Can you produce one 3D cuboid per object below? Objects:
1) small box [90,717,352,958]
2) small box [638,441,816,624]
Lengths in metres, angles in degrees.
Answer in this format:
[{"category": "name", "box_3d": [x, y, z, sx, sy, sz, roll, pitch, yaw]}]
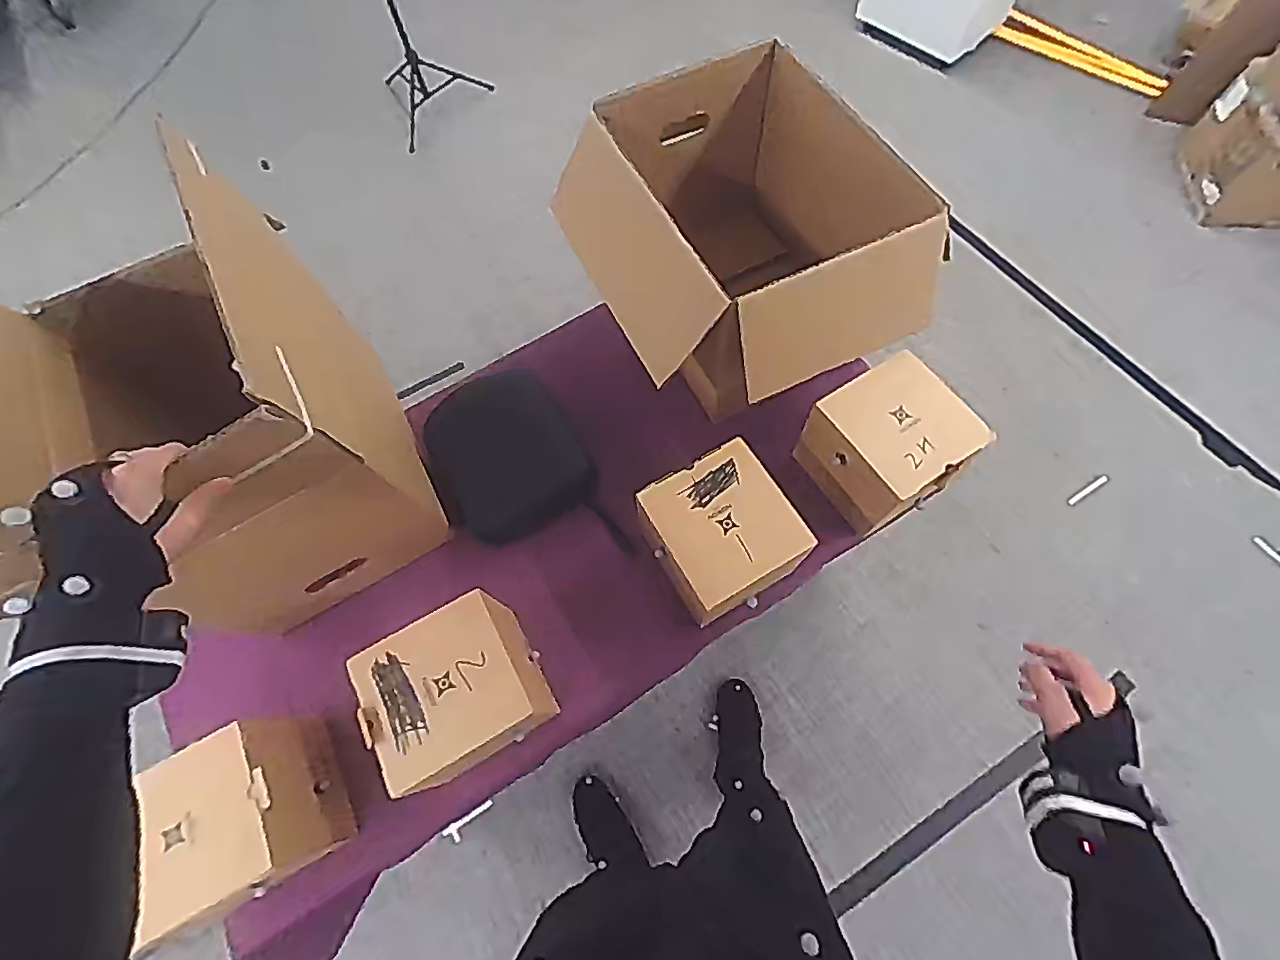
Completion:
[{"category": "small box", "box_3d": [-0.493, 0.410, 0.655, 0.179, 0.176, 0.168, -28, 69, -10]}, {"category": "small box", "box_3d": [0.110, 0.081, 0.758, 0.168, 0.176, 0.179, -29, 69, -8]}]
